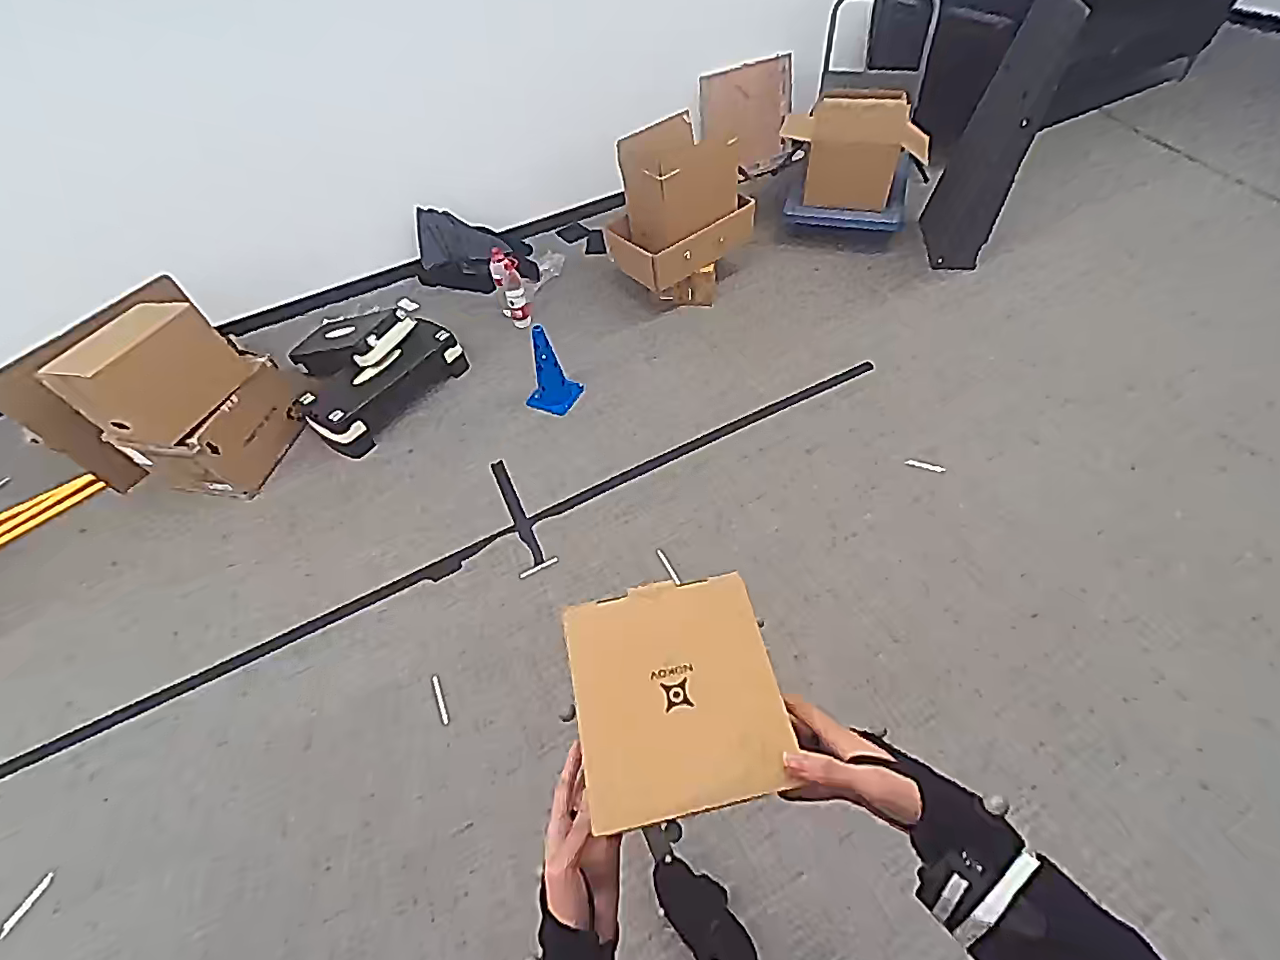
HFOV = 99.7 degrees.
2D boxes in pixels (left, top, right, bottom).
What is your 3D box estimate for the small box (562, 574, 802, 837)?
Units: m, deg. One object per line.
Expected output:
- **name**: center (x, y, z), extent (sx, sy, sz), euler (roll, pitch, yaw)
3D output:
- **small box**: center (0.029, 0.214, 0.505), extent (0.168, 0.176, 0.179), euler (-11, 56, -6)
